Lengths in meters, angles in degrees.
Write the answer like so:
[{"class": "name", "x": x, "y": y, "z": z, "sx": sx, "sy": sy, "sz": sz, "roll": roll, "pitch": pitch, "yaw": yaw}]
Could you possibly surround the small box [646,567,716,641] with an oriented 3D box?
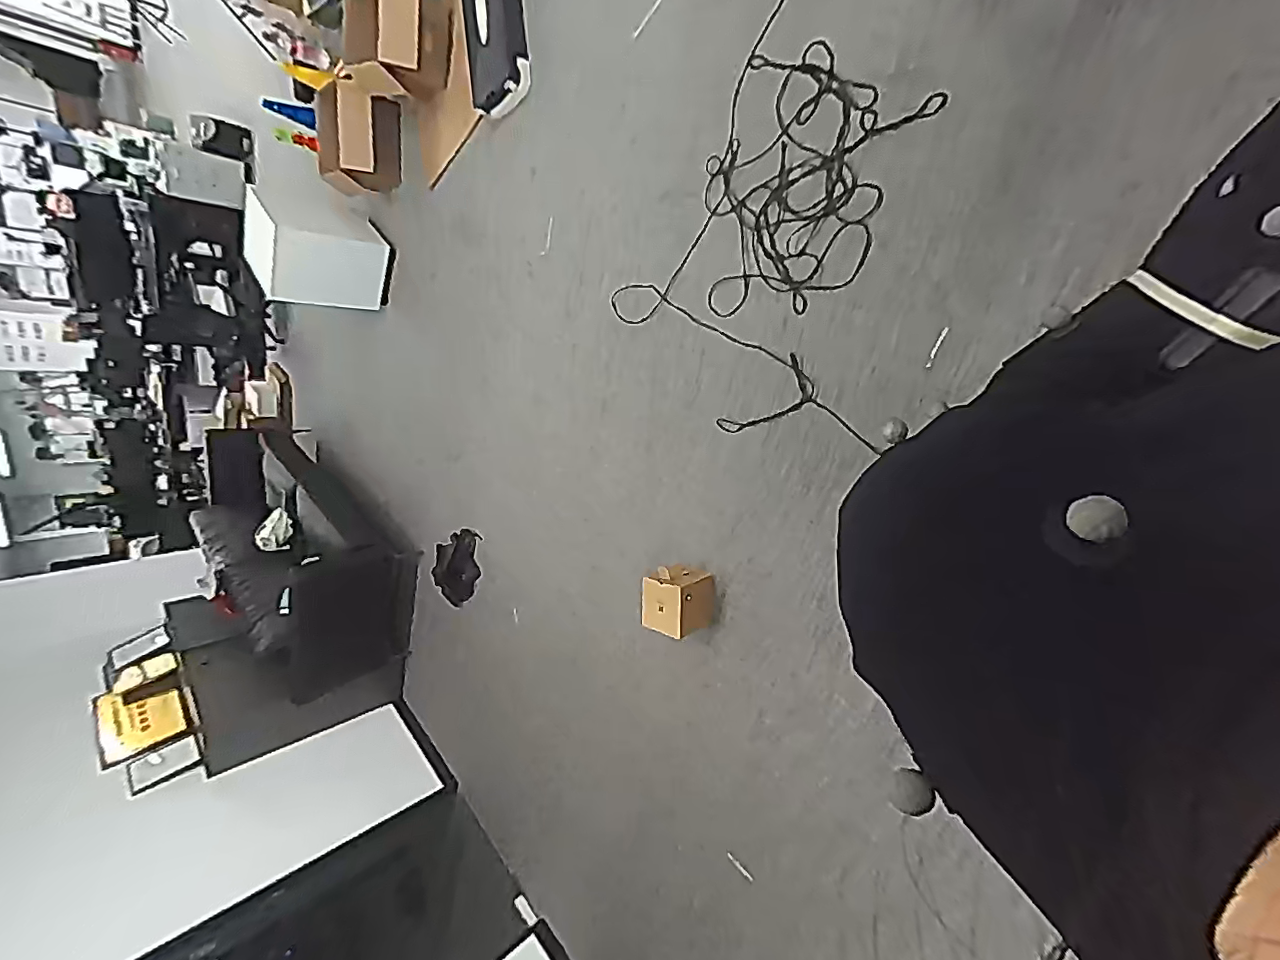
[{"class": "small box", "x": 0.137, "y": 0.402, "z": 1.785, "sx": 0.168, "sy": 0.176, "sz": 0.179, "roll": 8, "pitch": 101, "yaw": 43}]
